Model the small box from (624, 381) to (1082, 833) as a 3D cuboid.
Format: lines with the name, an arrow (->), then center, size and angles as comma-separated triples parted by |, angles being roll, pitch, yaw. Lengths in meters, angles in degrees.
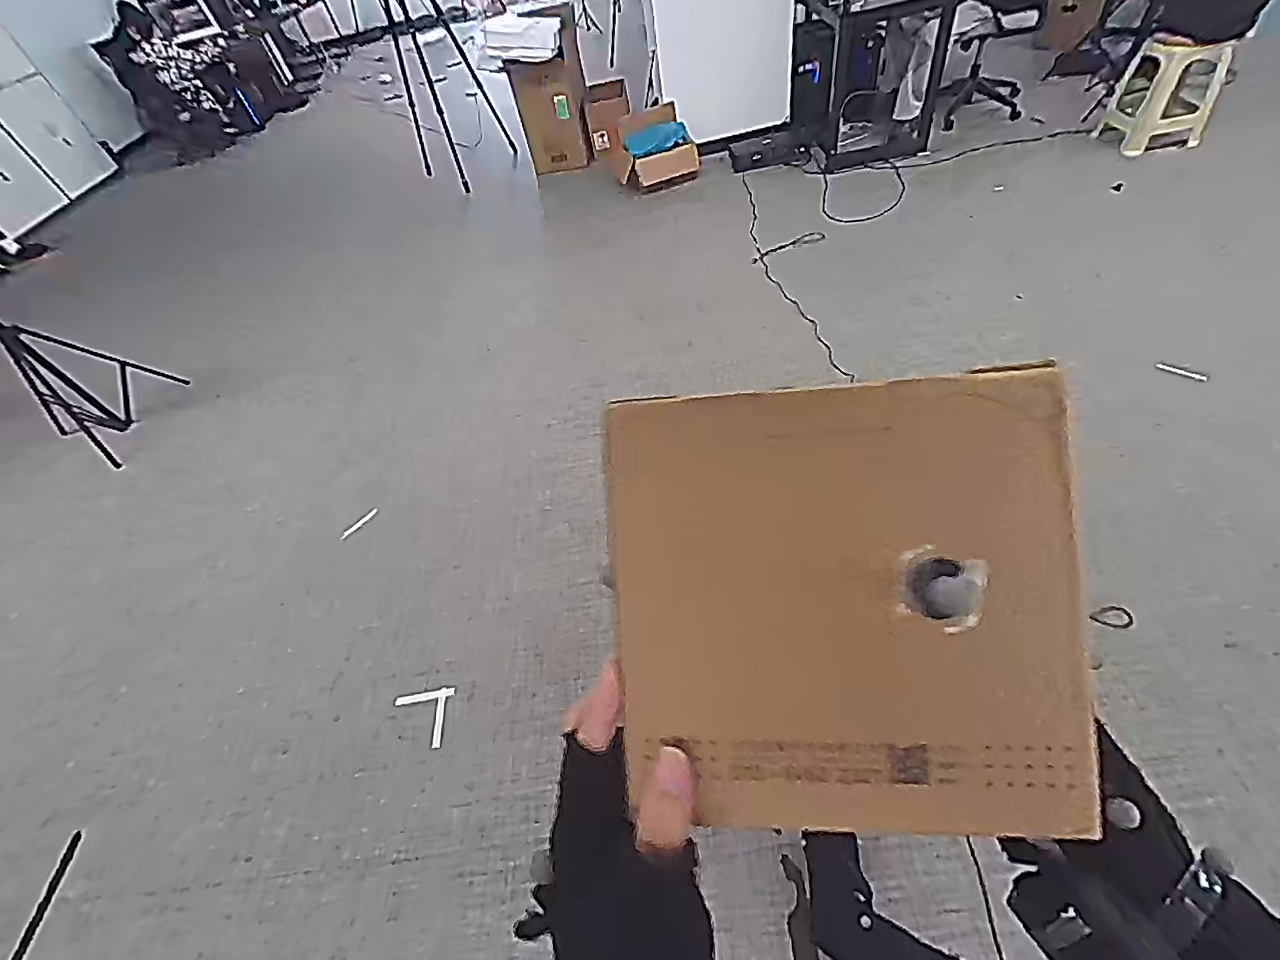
small box -> 0.091, 0.052, 0.285 | 0.168, 0.179, 0.176 | -3, 90, 8
